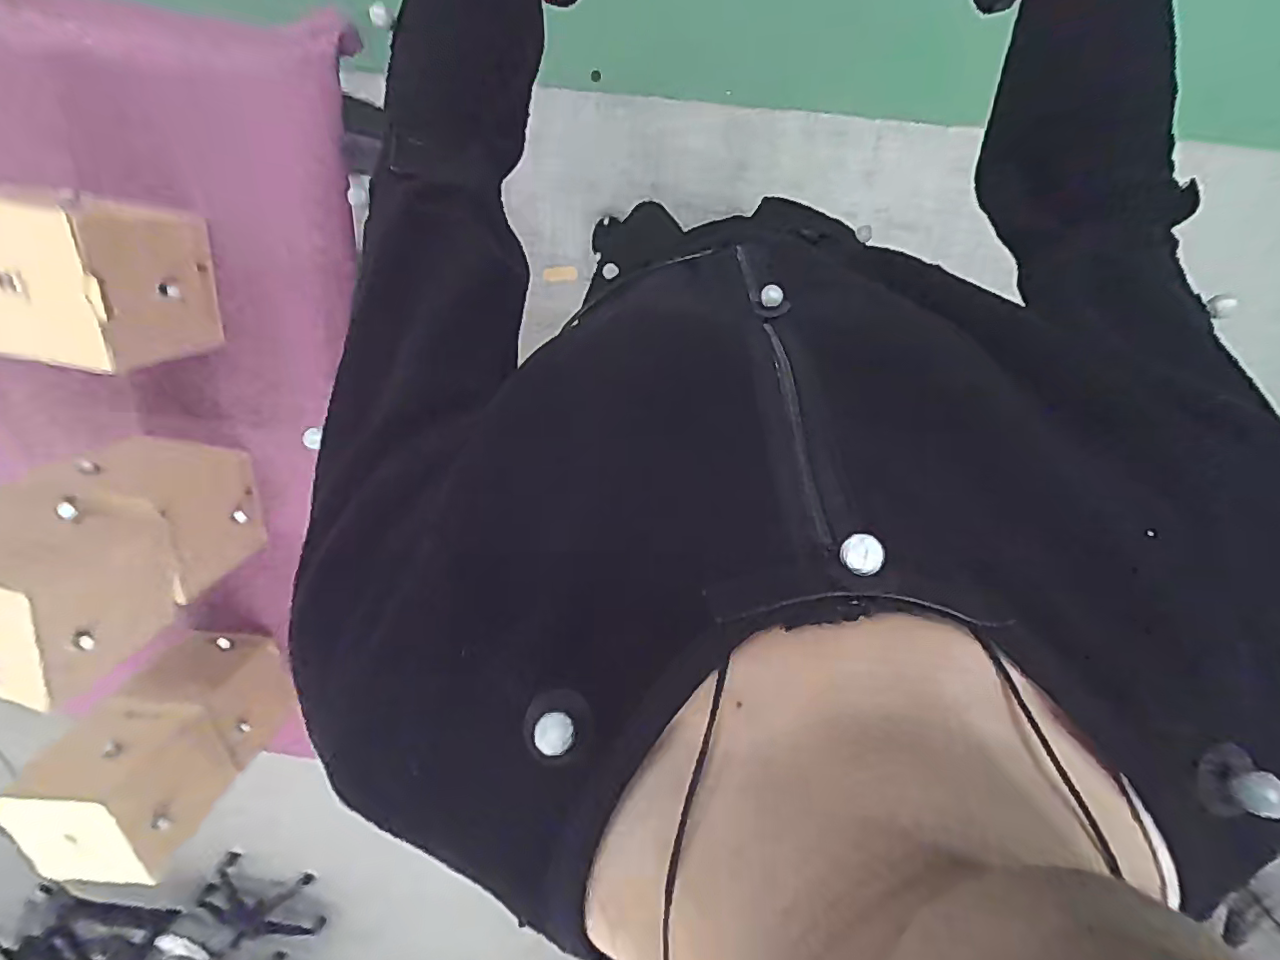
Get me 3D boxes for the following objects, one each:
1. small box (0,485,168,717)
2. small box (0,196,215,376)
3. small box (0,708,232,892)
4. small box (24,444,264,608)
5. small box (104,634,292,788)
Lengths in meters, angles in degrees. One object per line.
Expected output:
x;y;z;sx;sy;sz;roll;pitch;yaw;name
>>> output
-0.707;0.134;0.639;0.168;0.176;0.179;18;114;-3;small box
-0.656;-0.237;0.648;0.179;0.176;0.168;10;115;0;small box
-0.754;0.458;0.791;0.168;0.176;0.179;1;115;3;small box
-0.696;0.057;0.784;0.179;0.176;0.168;9;115;1;small box
-0.747;0.397;0.941;0.168;0.176;0.179;3;114;3;small box
